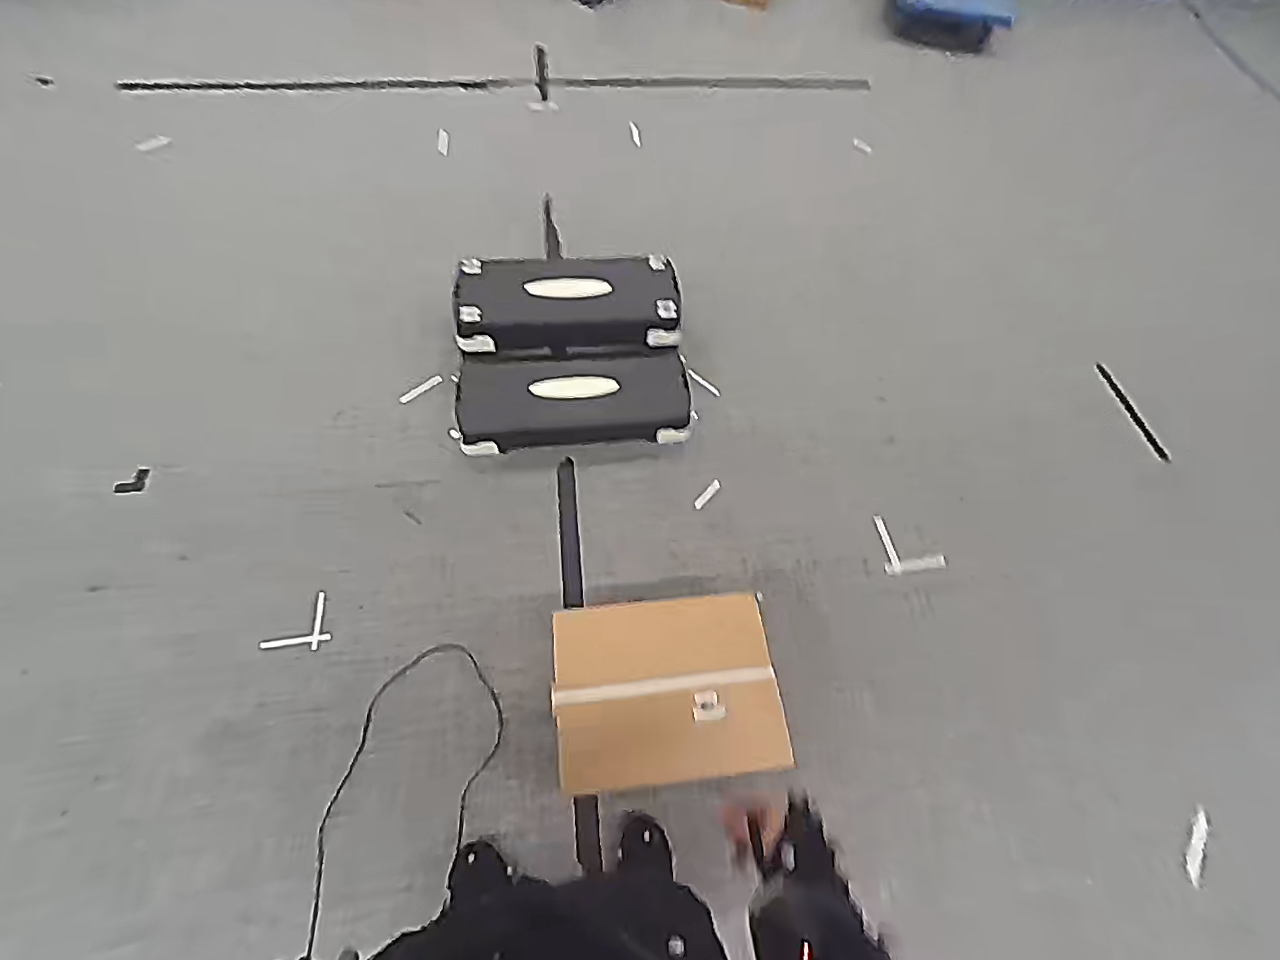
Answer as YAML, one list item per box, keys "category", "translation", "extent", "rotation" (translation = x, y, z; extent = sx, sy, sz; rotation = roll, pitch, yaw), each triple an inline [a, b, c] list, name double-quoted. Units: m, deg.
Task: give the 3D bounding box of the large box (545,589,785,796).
- category: "large box"
  translation: [0.024, 0.439, 1.109]
  extent: [0.408, 0.320, 0.320]
  rotation: [-4, 62, -7]

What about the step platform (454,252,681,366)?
- category: "step platform"
  translation: [-0.215, -0.530, 1.674]
  extent: [0.684, 0.204, 0.286]
  rotation: [1, 62, -5]
